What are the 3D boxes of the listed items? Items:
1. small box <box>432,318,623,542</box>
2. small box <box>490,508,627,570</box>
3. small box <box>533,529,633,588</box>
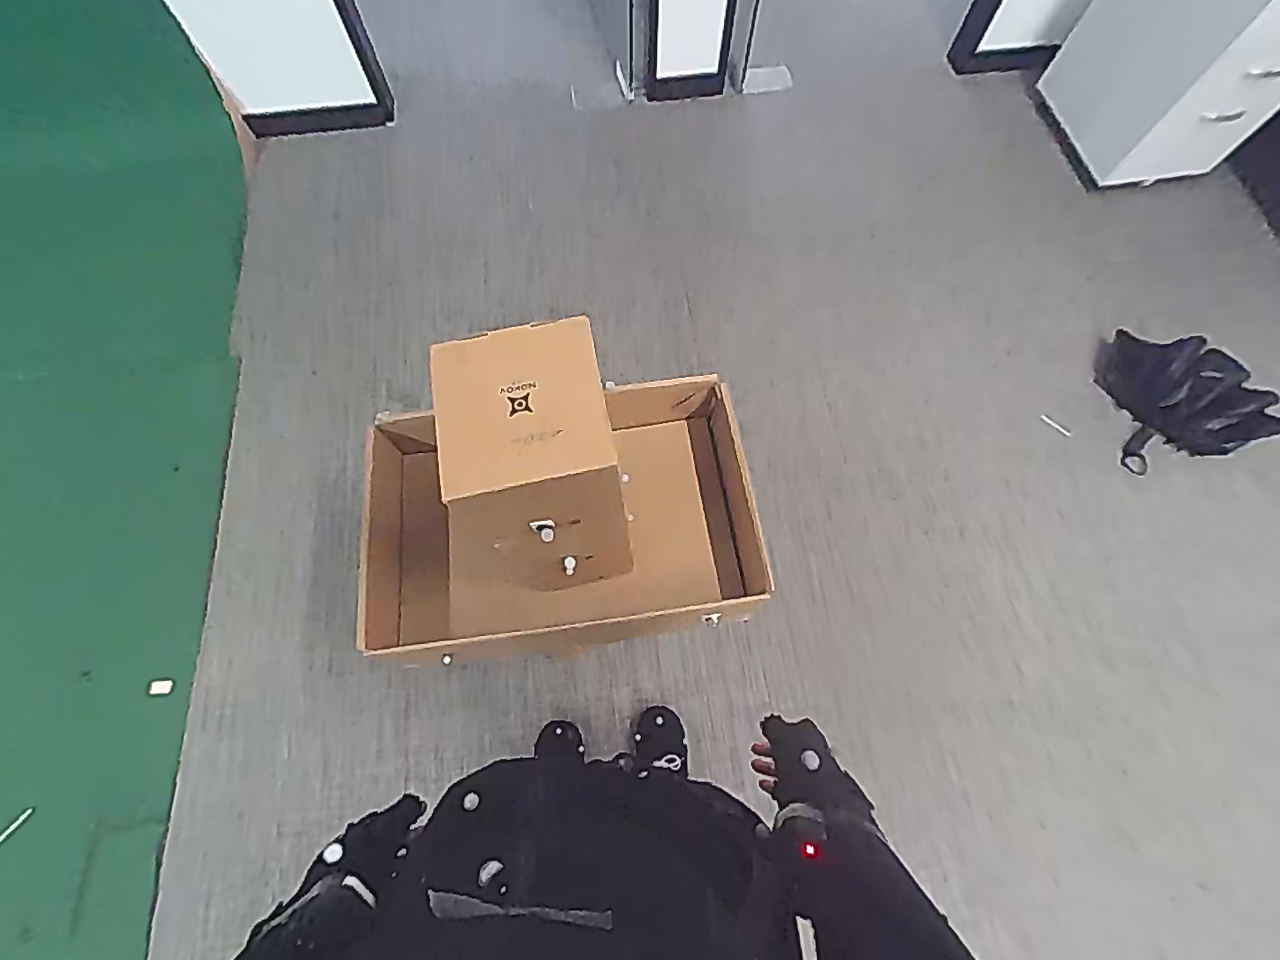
[{"bbox_3d":[-0.117,-0.047,0.606,0.168,0.176,0.179,-13,70,-3],"label":"small box"},{"bbox_3d":[-0.115,0.012,0.757,0.168,0.176,0.179,-12,69,-4],"label":"small box"},{"bbox_3d":[-0.111,0.067,0.911,0.168,0.176,0.179,-13,68,-3],"label":"small box"}]
